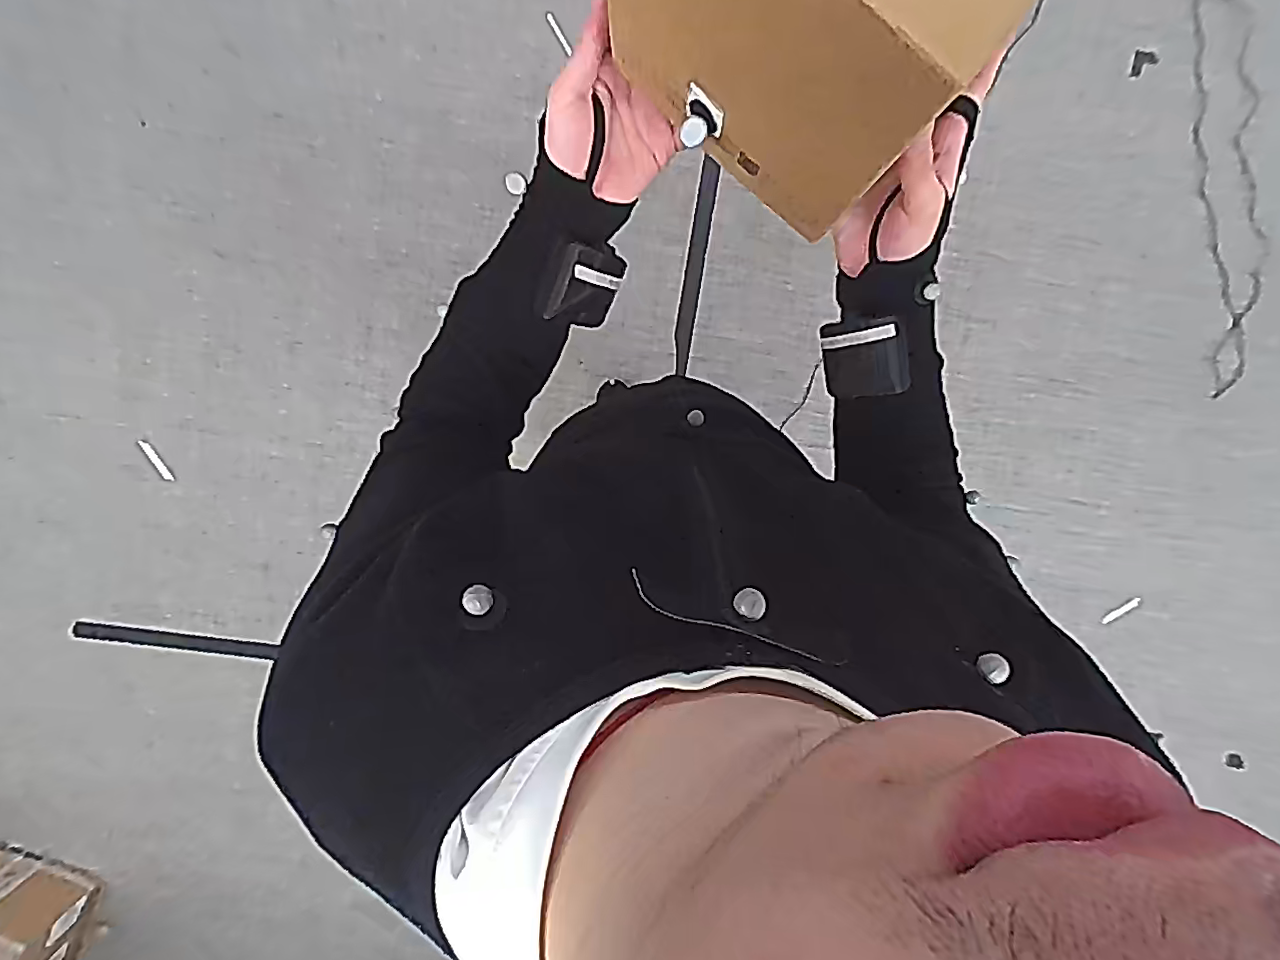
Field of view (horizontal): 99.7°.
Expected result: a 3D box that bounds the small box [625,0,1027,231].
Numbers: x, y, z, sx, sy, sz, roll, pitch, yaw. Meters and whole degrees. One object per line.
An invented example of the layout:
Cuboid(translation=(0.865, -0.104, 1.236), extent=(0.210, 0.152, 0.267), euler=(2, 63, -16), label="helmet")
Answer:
Cuboid(translation=(0.101, -0.263, 0.259), extent=(0.168, 0.176, 0.179), euler=(39, 95, -3), label="small box")
